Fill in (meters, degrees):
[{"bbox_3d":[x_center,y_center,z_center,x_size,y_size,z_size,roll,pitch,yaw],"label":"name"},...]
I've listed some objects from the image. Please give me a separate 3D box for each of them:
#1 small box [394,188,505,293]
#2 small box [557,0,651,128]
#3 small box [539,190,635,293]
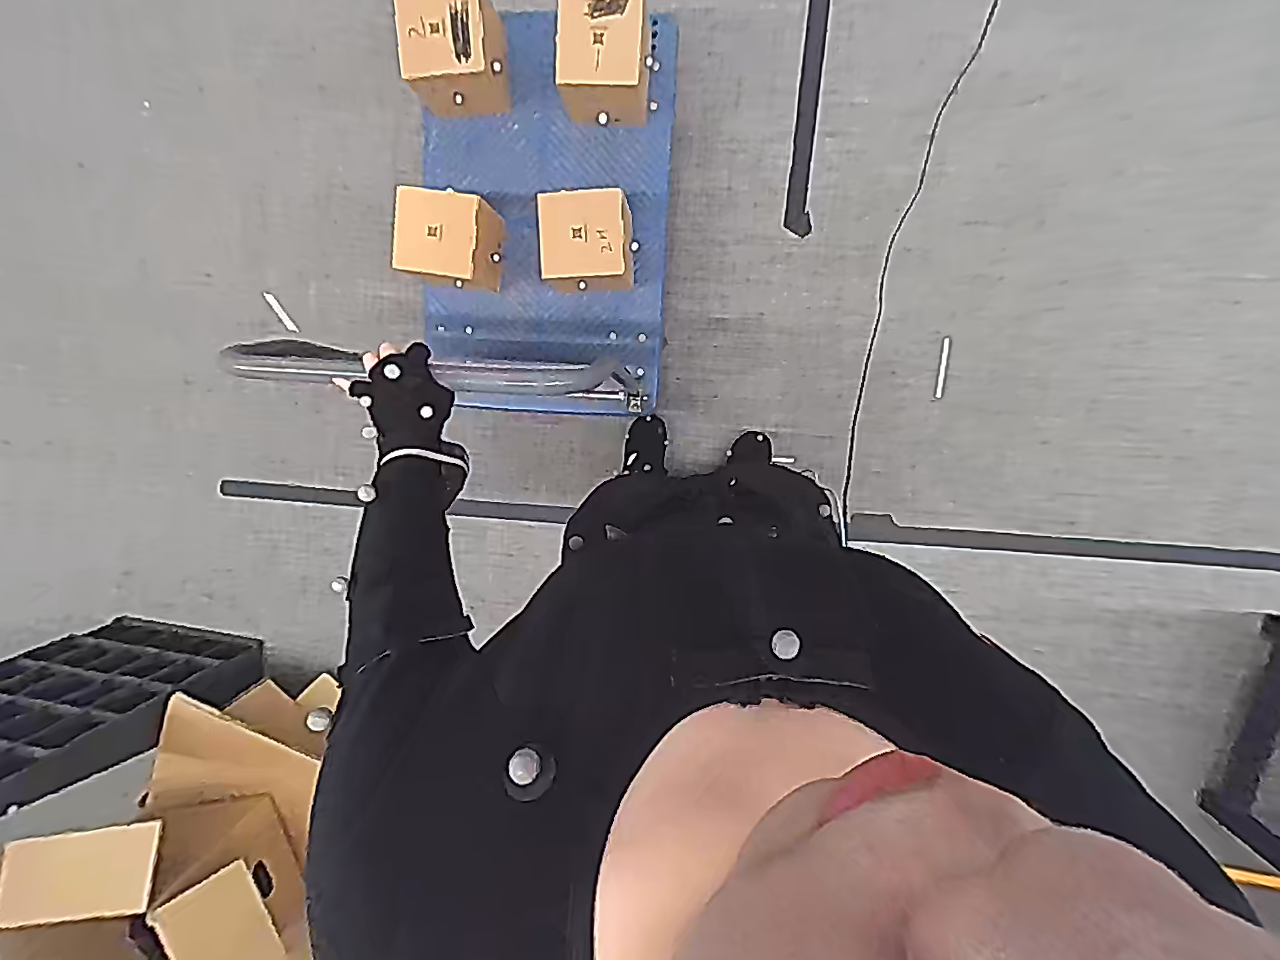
[{"bbox_3d":[-0.415,-0.520,1.196,0.179,0.176,0.168,8,99,2],"label":"small box"},{"bbox_3d":[-0.067,-0.859,1.107,0.168,0.176,0.179,5,101,5],"label":"small box"},{"bbox_3d":[-0.109,-0.505,1.168,0.179,0.176,0.168,0,99,6],"label":"small box"}]
